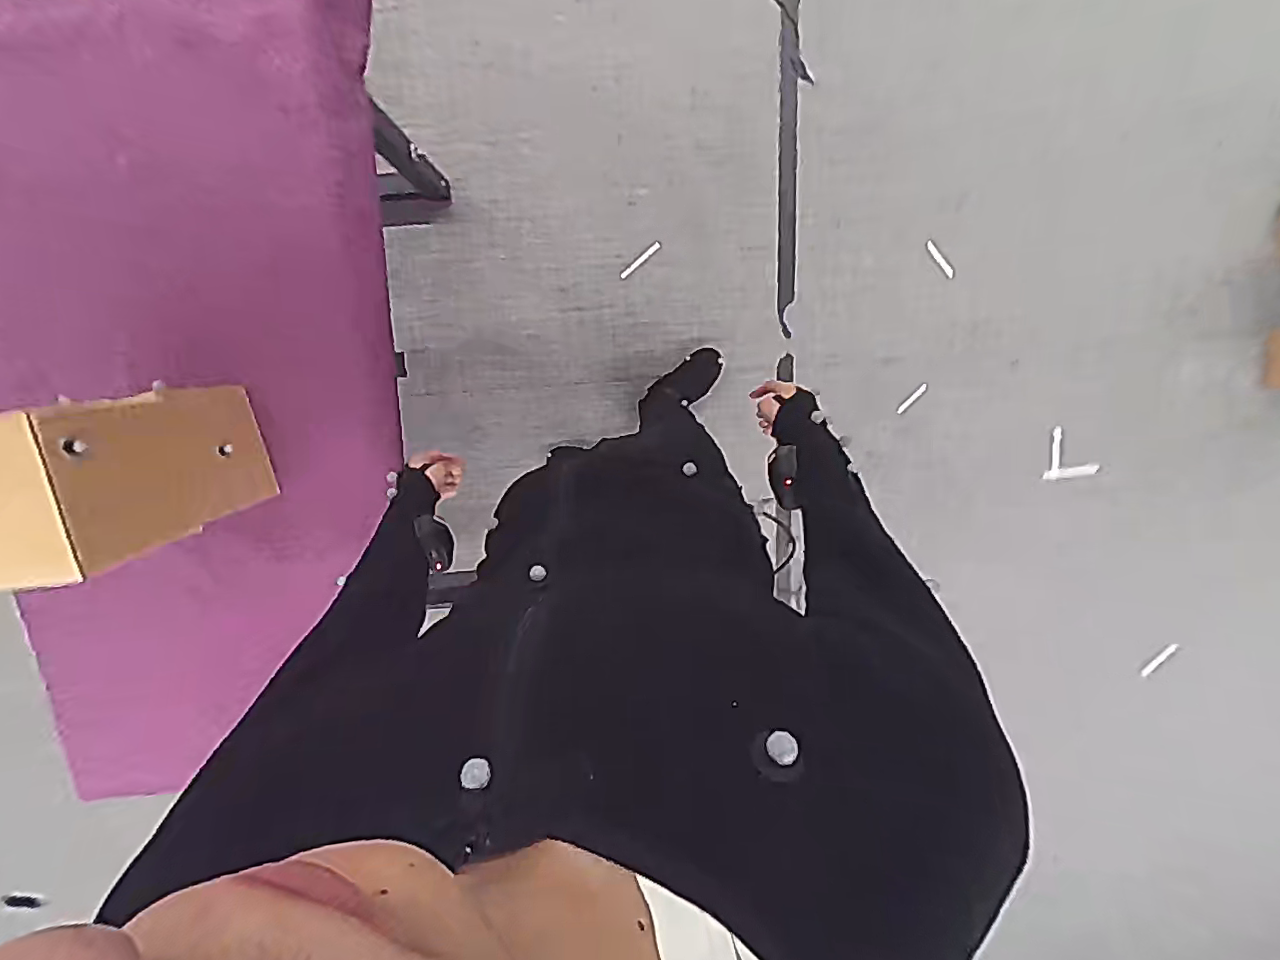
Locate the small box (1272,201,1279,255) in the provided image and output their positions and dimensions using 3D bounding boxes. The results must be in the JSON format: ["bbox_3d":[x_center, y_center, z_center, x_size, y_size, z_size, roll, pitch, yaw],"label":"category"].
[{"bbox_3d":[1.947,-0.740,1.503,0.179,0.176,0.168,-10,102,-1],"label":"small box"}]

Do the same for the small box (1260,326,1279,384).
[{"bbox_3d":[1.997,-0.370,1.584,0.168,0.176,0.179,-3,103,-2],"label":"small box"}]

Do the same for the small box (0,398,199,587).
[{"bbox_3d":[-0.654,0.007,0.611,0.168,0.176,0.179,-6,102,-1],"label":"small box"}]
